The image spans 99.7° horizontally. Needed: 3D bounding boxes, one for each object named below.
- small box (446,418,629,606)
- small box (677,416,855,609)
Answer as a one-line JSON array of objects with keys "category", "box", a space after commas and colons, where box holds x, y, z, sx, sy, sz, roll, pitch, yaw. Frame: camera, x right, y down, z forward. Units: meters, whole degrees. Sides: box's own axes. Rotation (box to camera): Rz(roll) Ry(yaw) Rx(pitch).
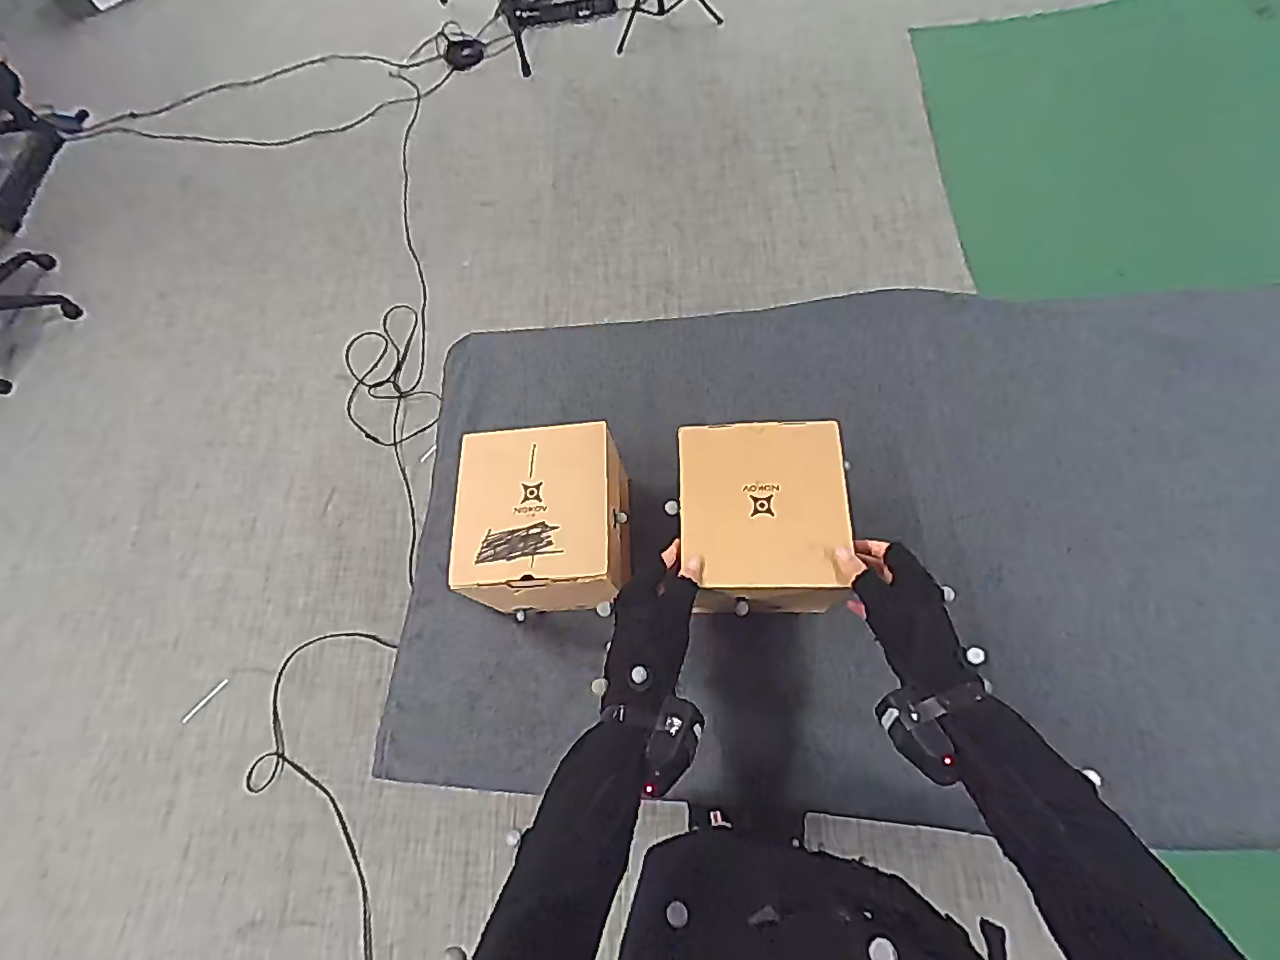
[{"category": "small box", "box": [-0.105, 0.048, 0.634, 0.168, 0.176, 0.179, -5, 66, 6]}, {"category": "small box", "box": [0.130, 0.047, 0.605, 0.168, 0.176, 0.179, -2, 67, 7]}]
